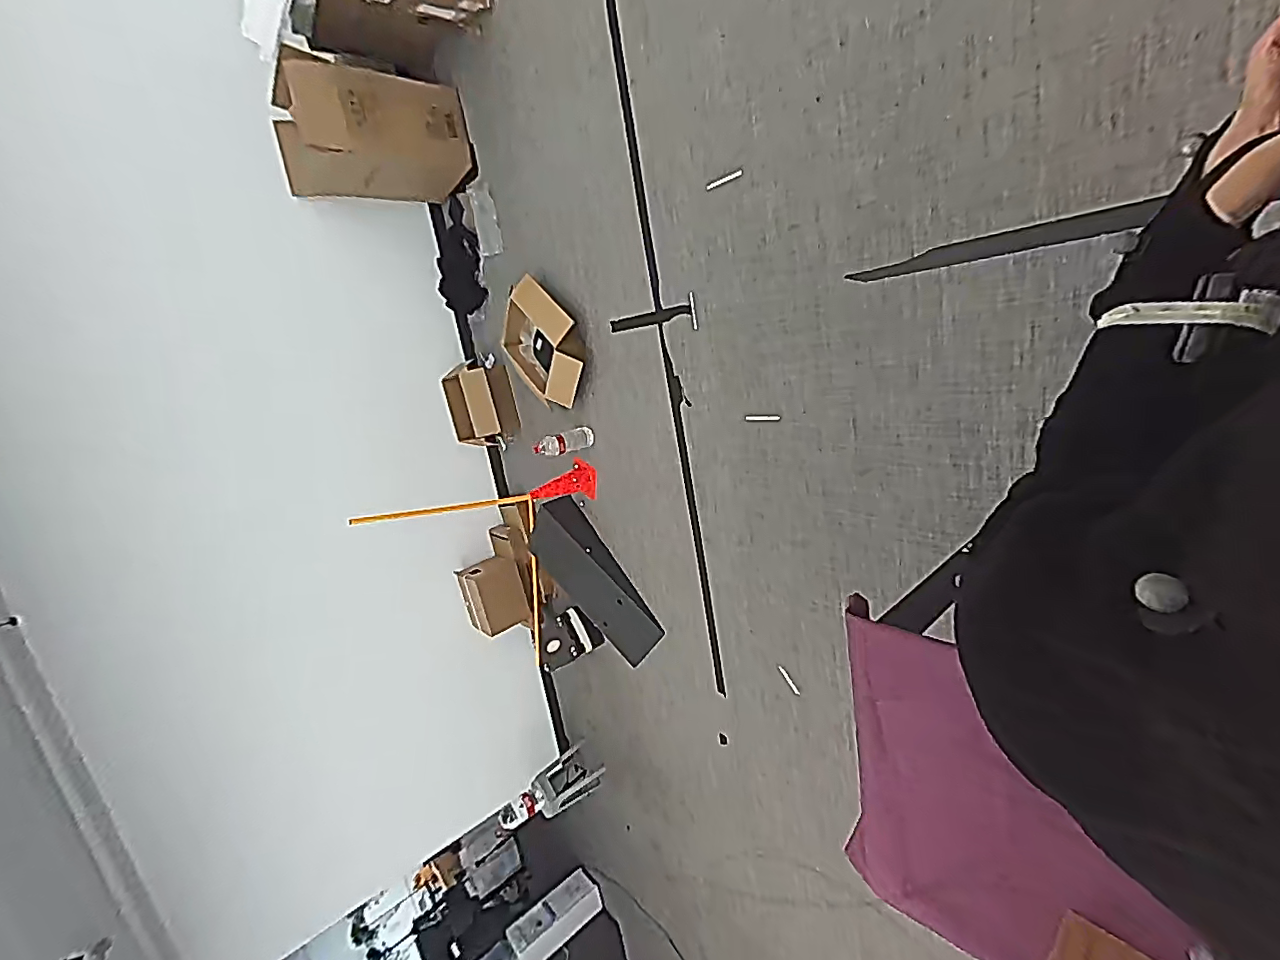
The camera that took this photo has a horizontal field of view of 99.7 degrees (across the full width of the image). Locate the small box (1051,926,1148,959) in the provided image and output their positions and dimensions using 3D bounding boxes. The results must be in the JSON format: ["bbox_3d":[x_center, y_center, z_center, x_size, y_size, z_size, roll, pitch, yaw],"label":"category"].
[{"bbox_3d":[0.646,0.756,0.721,0.179,0.176,0.168,12,115,49],"label":"small box"}]
